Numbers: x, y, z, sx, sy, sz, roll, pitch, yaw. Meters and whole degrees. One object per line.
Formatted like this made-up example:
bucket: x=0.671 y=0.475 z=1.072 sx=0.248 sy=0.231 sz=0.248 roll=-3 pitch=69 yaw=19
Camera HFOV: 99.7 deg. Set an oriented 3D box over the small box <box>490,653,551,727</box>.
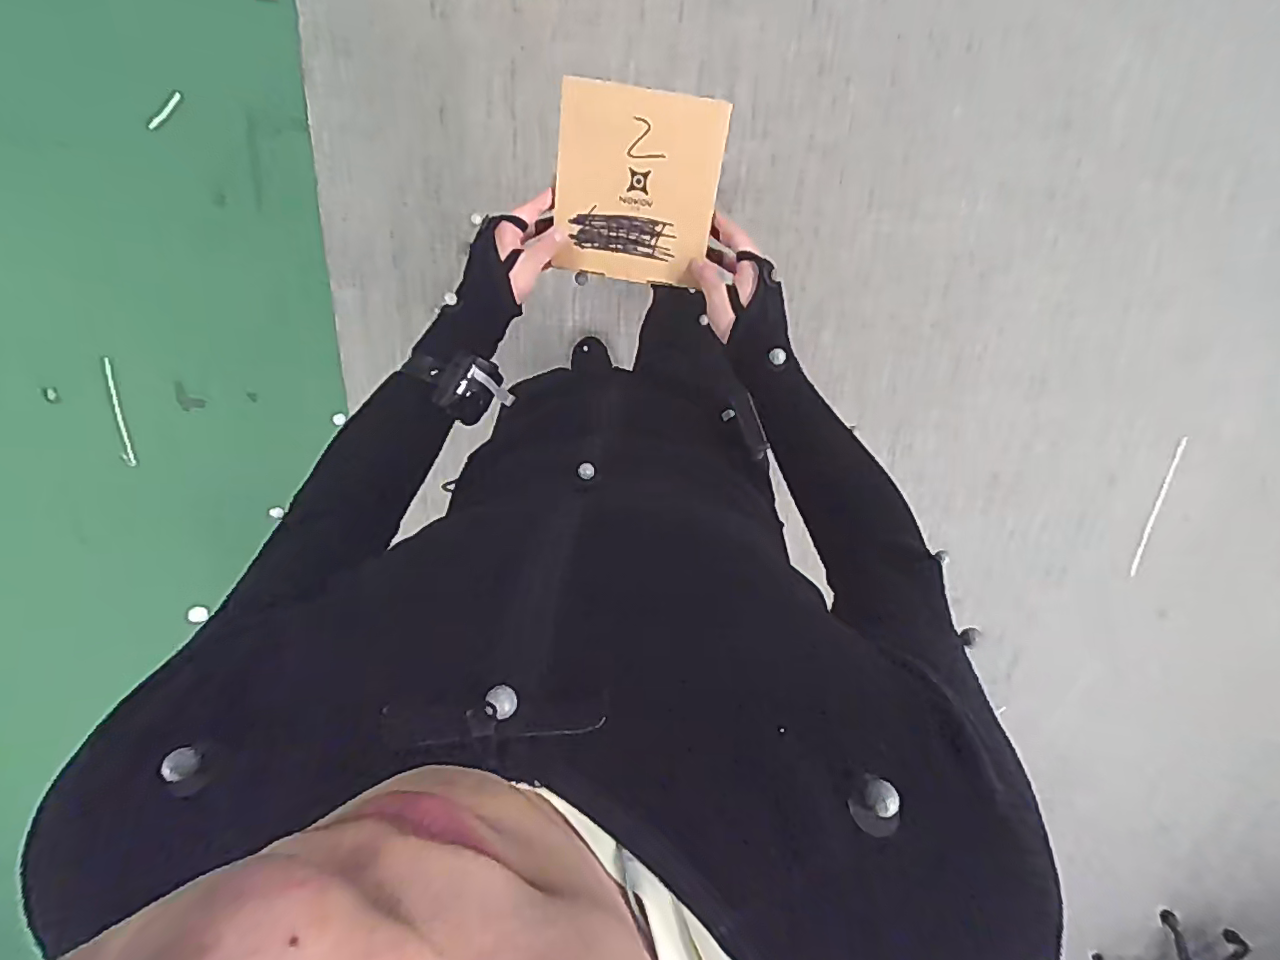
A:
small box: x=-0.396 y=0.698 z=1.815 sx=0.168 sy=0.176 sz=0.179 roll=-1 pitch=111 yaw=0
